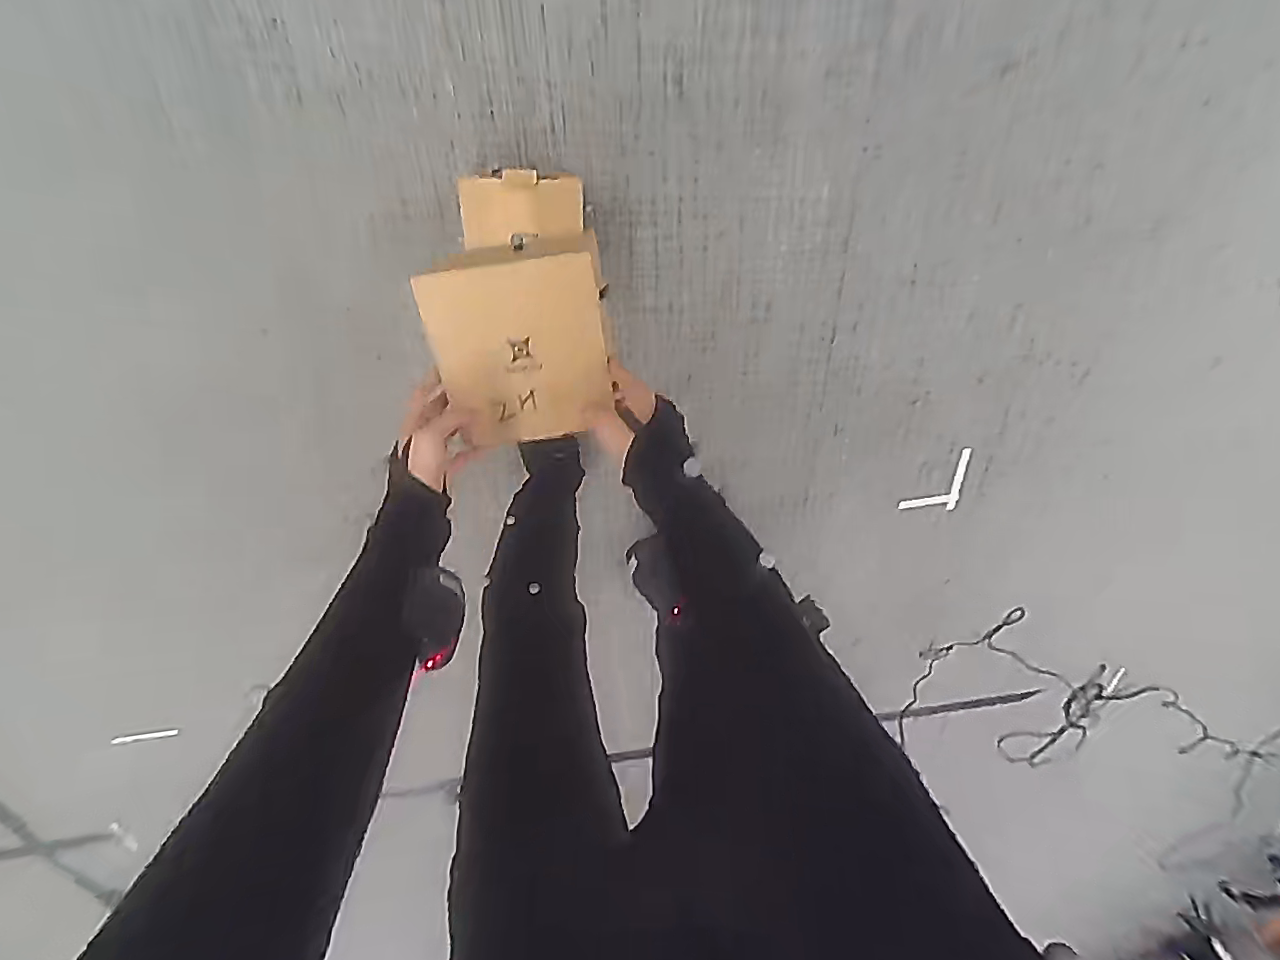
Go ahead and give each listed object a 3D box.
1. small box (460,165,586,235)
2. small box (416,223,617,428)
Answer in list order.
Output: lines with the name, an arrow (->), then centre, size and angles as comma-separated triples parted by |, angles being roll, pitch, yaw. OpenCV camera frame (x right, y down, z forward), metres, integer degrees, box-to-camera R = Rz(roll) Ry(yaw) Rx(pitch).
small box -> -0.170, -0.375, 0.823 | 0.168, 0.176, 0.179 | -2, 121, -7
small box -> -0.119, -0.178, 0.596 | 0.168, 0.176, 0.179 | -7, 121, 1
